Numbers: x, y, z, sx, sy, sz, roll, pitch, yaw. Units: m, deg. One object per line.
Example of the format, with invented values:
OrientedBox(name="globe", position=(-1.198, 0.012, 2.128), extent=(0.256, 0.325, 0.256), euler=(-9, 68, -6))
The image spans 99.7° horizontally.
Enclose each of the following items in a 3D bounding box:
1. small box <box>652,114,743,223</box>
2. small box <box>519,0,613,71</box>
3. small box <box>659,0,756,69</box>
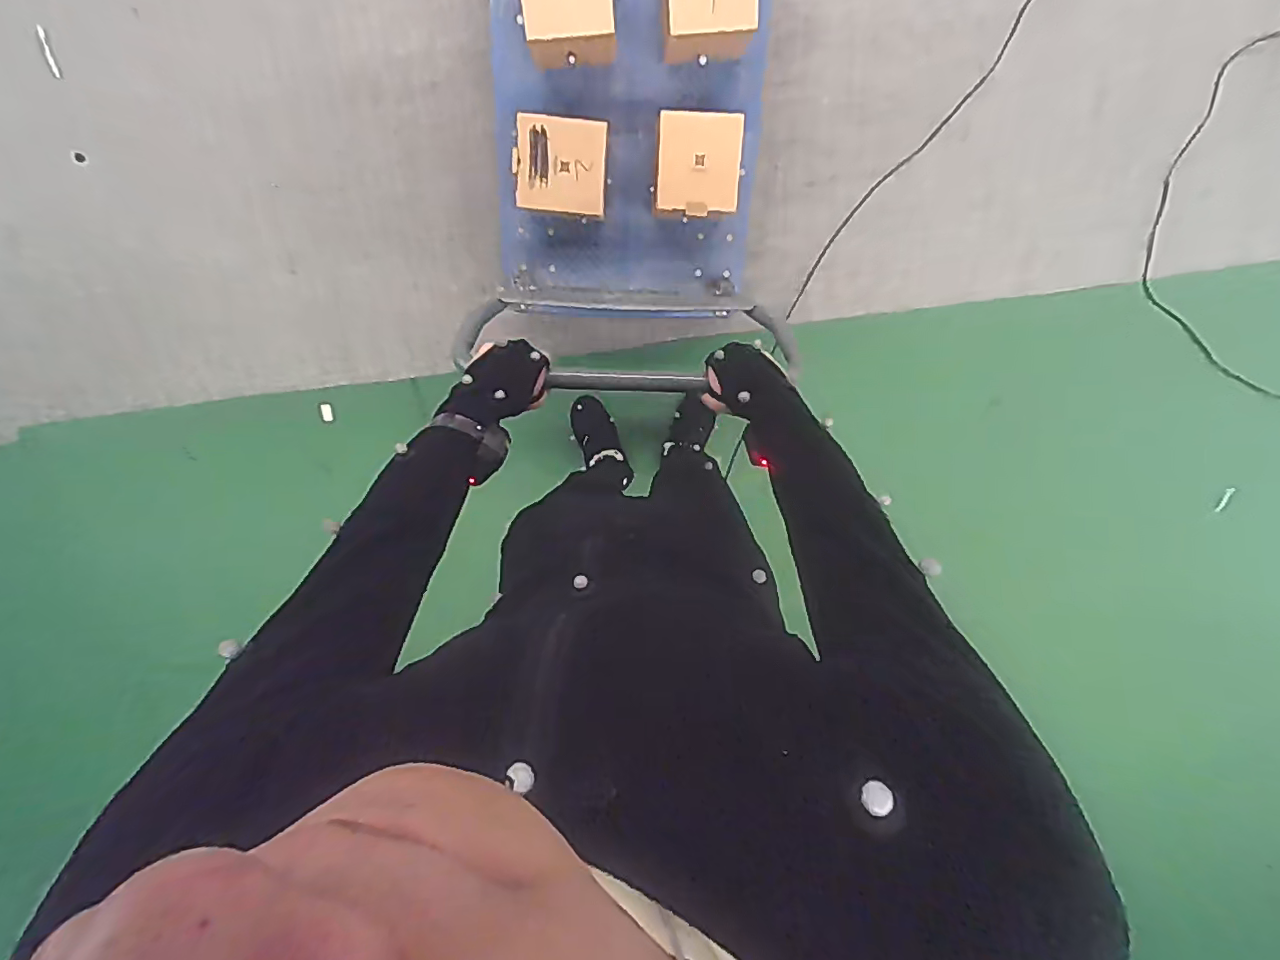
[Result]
OrientedBox(name="small box", position=(0.114, -0.656, 1.155), extent=(0.168, 0.176, 0.179), euler=(0, 112, -3))
OrientedBox(name="small box", position=(-0.141, -0.916, 1.041), extent=(0.168, 0.176, 0.179), euler=(-5, 111, -1))
OrientedBox(name="small box", position=(0.125, -0.931, 1.046), extent=(0.168, 0.176, 0.179), euler=(-4, 112, 0))
